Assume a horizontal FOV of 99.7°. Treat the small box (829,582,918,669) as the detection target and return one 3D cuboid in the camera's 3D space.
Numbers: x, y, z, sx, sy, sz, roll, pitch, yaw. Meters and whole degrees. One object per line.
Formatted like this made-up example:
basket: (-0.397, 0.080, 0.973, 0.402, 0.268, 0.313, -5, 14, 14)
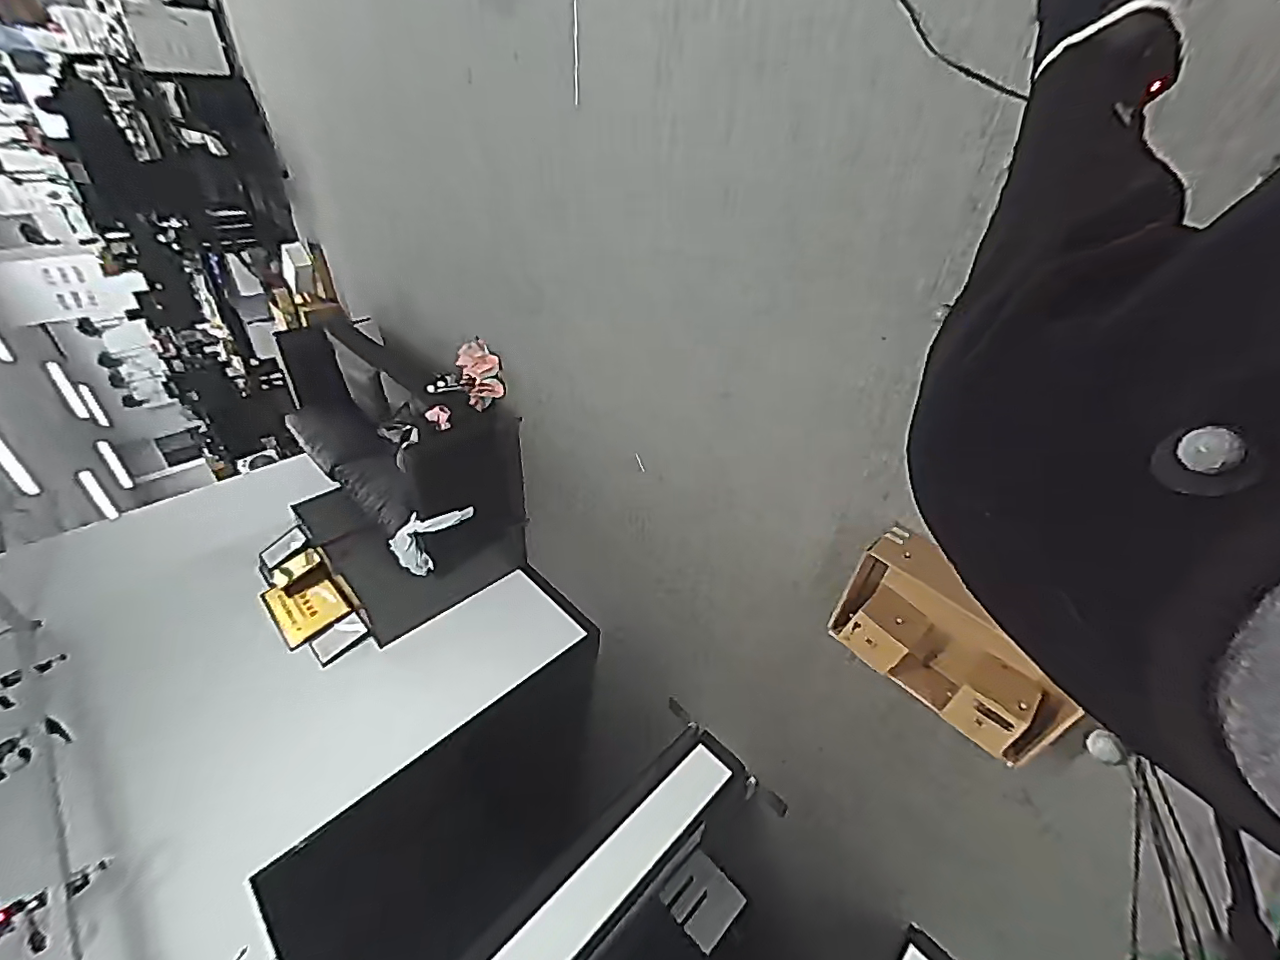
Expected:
small box: (0.753, 0.462, 1.735, 0.179, 0.176, 0.168, 41, 138, 24)
